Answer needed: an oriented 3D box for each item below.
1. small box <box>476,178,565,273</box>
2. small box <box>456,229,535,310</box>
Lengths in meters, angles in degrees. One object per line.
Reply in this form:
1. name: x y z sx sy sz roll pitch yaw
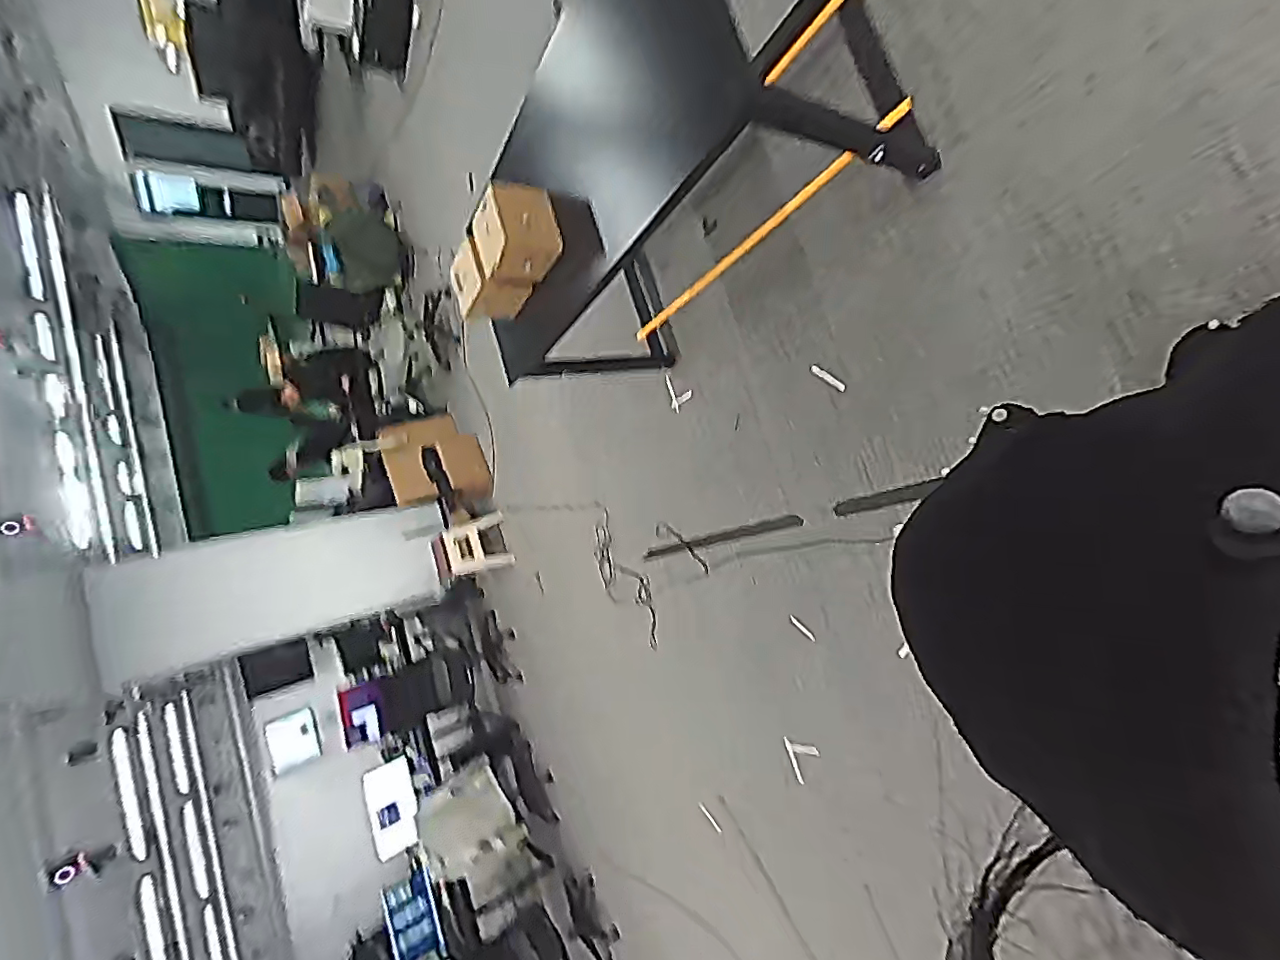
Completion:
1. small box: -0.326 -0.691 1.485 0.168 0.176 0.179 -25 80 53
2. small box: -0.443 -0.634 1.657 0.179 0.176 0.168 -29 77 52
